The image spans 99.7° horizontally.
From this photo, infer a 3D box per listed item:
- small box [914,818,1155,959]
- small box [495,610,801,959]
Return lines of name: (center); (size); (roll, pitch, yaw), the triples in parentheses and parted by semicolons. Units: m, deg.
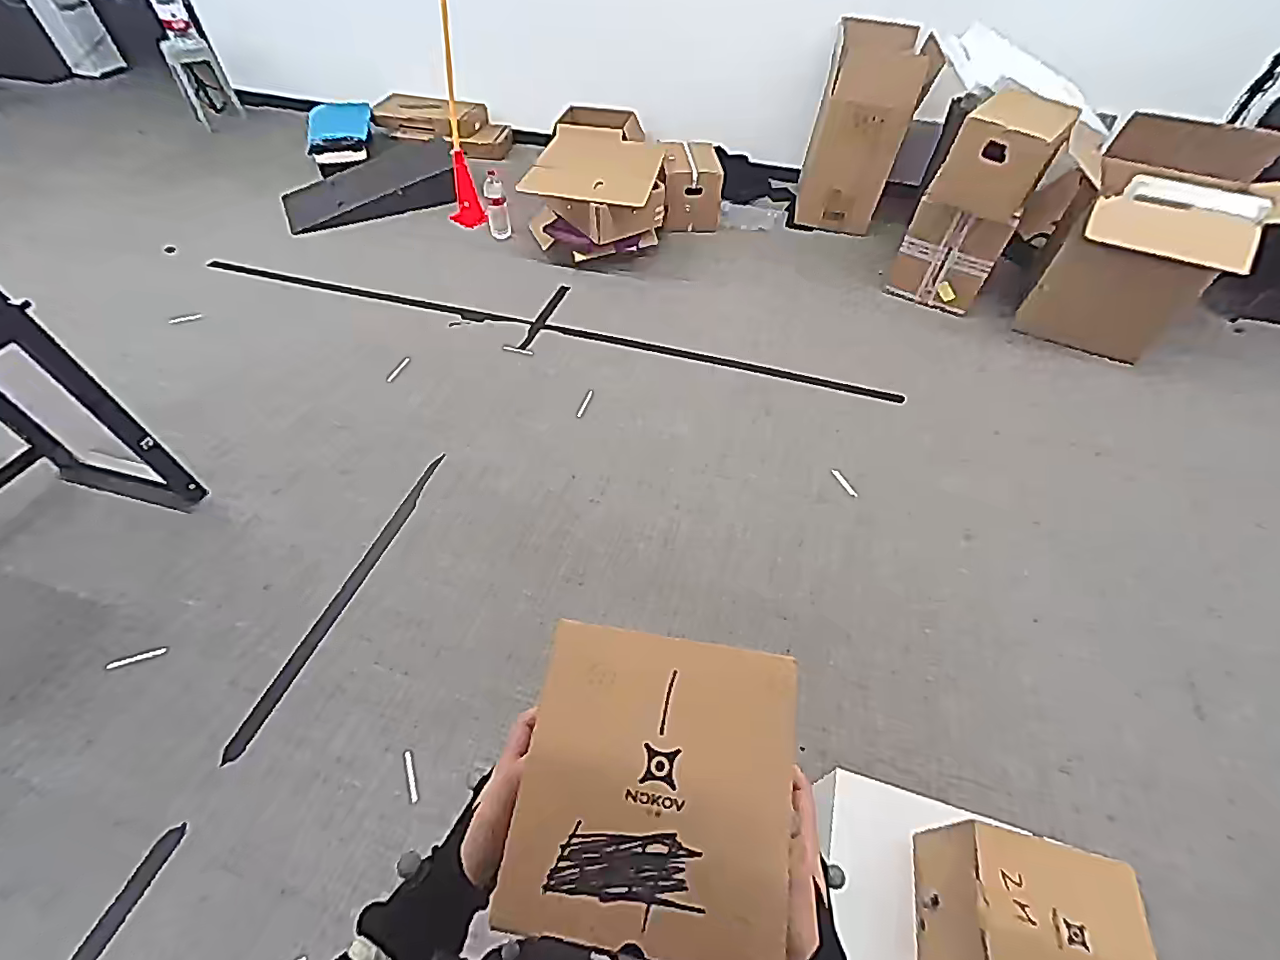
small box: (0.449, 0.524, 0.636); (0.179, 0.176, 0.168); (13, 52, 8)
small box: (0.015, 0.215, 0.403); (0.168, 0.176, 0.179); (8, 63, 6)
